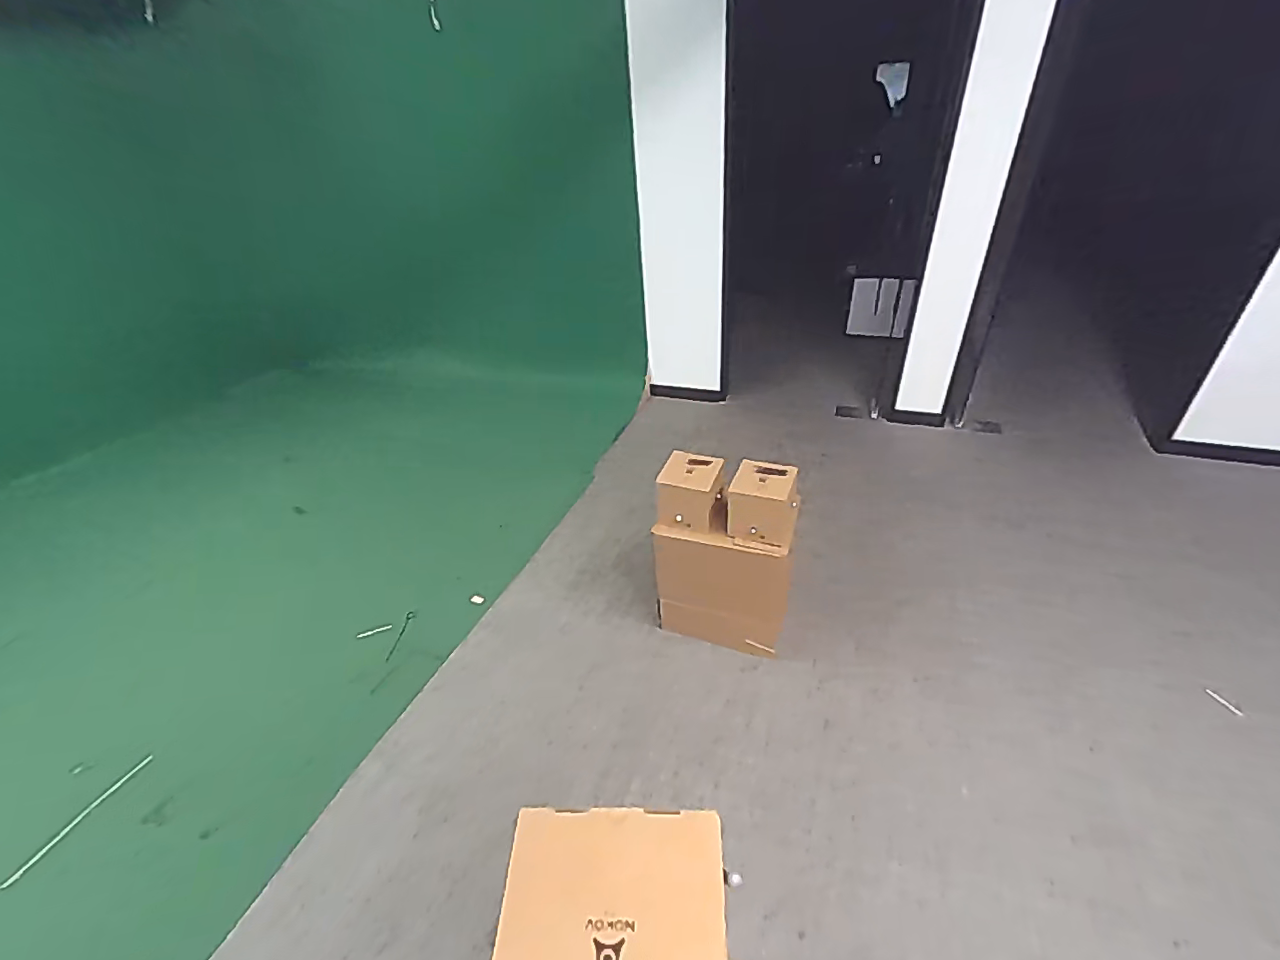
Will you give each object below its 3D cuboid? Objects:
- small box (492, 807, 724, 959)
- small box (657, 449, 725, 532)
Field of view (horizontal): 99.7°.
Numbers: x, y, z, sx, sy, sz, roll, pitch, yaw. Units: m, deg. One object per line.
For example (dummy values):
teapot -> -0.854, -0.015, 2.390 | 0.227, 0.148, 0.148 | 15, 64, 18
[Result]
small box -> -0.016, 0.391, 0.441 | 0.168, 0.176, 0.179 | -2, 43, 6
small box -> 0.157, 0.031, 1.672 | 0.168, 0.176, 0.179 | 12, 41, 20
